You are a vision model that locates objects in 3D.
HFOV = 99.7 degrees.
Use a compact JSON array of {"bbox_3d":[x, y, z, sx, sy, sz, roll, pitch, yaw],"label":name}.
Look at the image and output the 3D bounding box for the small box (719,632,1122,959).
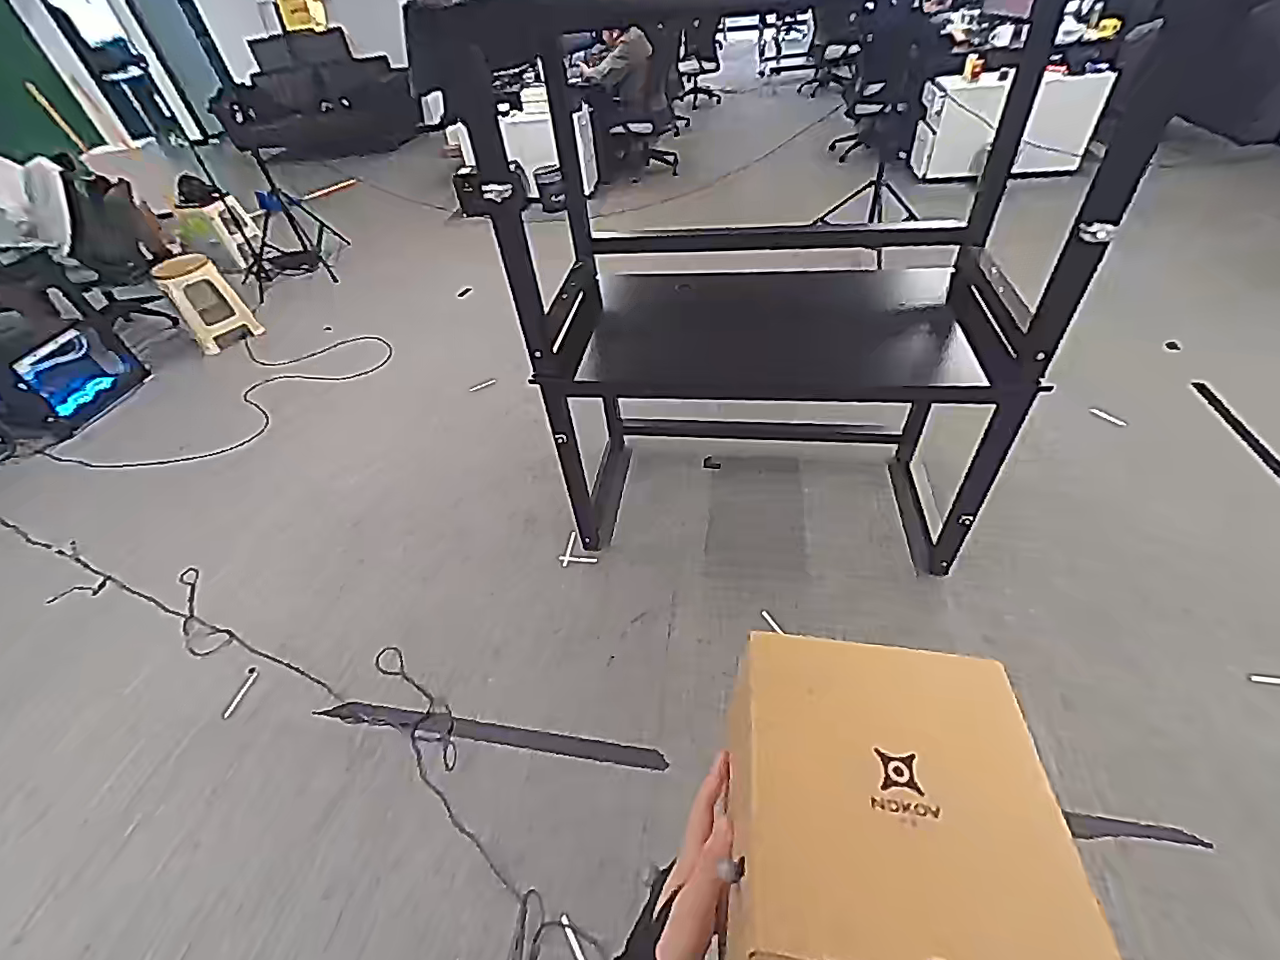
[{"bbox_3d":[0.142,0.228,0.349,0.168,0.176,0.179,5,41,6],"label":"small box"}]
